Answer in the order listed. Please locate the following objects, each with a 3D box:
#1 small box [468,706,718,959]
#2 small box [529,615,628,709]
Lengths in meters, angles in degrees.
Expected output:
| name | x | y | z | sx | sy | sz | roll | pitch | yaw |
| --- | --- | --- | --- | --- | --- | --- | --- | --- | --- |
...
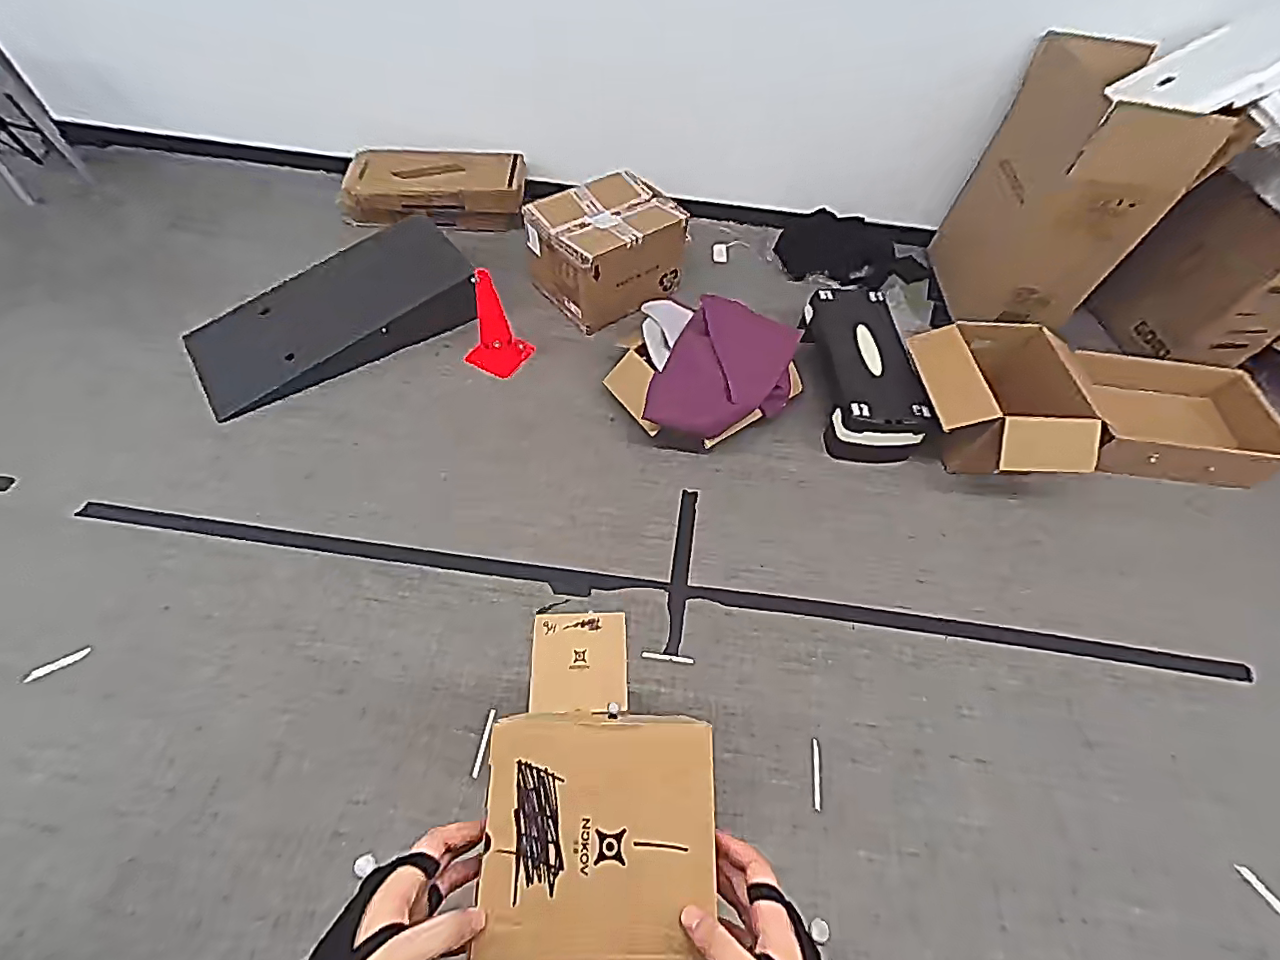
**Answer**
| name | x | y | z | sx | sy | sz | roll | pitch | yaw |
| --- | --- | --- | --- | --- | --- | --- | --- | --- | --- |
| small box | -0.033 | 0.292 | 0.474 | 0.179 | 0.176 | 0.168 | 2 | 69 | -2 |
| small box | -0.106 | 0.361 | 0.995 | 0.168 | 0.176 | 0.179 | -1 | 56 | -3 |
